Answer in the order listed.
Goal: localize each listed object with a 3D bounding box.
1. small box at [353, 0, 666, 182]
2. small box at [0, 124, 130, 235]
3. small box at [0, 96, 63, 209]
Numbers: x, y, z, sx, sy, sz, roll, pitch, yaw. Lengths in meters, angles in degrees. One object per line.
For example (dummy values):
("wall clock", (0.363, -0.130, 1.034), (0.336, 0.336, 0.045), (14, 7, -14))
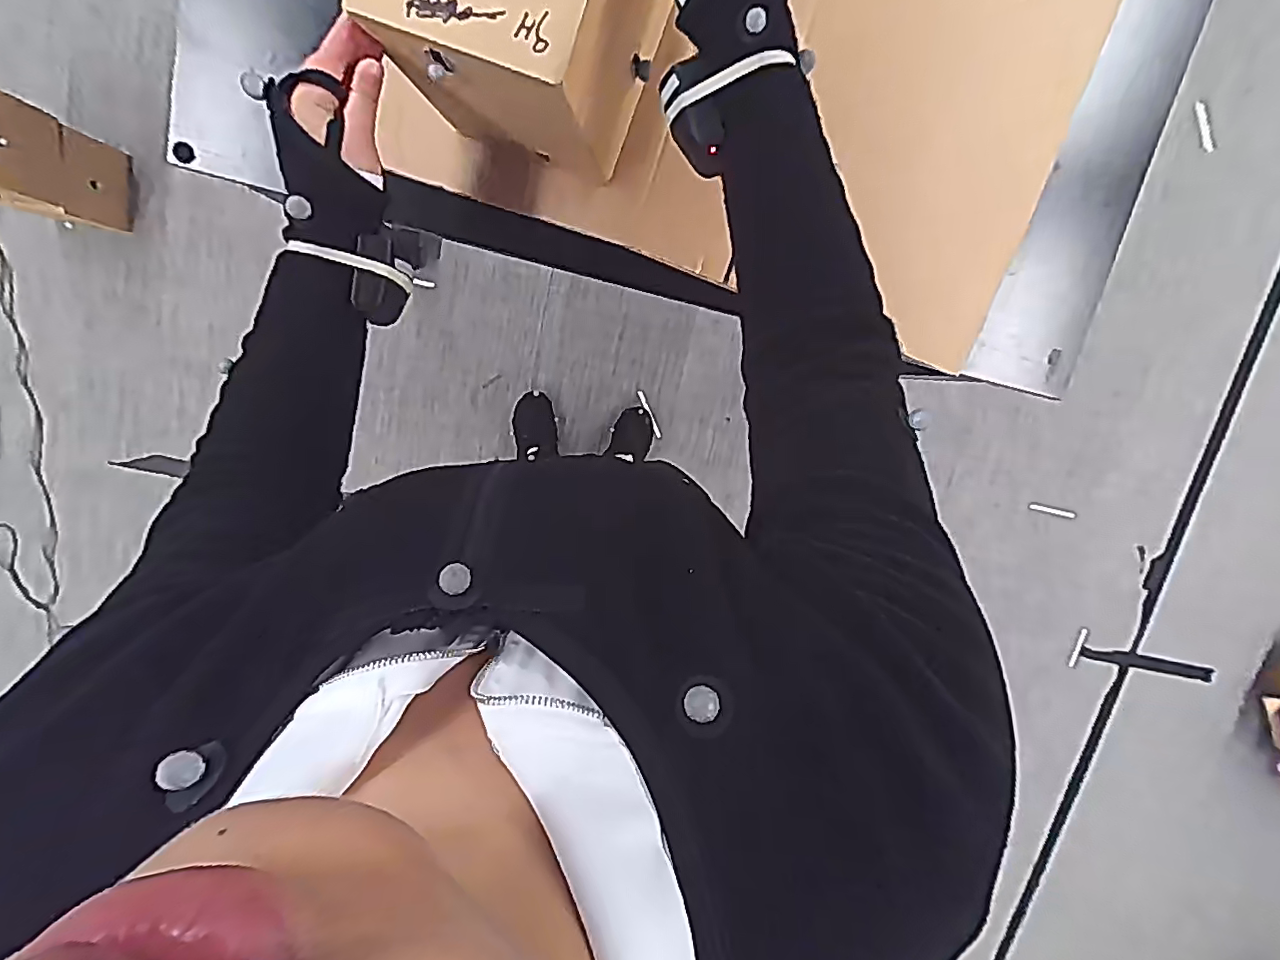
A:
("small box", (-0.083, -0.381, 0.430), (0.168, 0.176, 0.179), (22, 99, 4))
("small box", (-1.257, -0.654, 1.168), (0.168, 0.176, 0.179), (8, 101, -7))
("small box", (-1.242, -0.628, 1.009), (0.168, 0.176, 0.179), (5, 100, -8))
